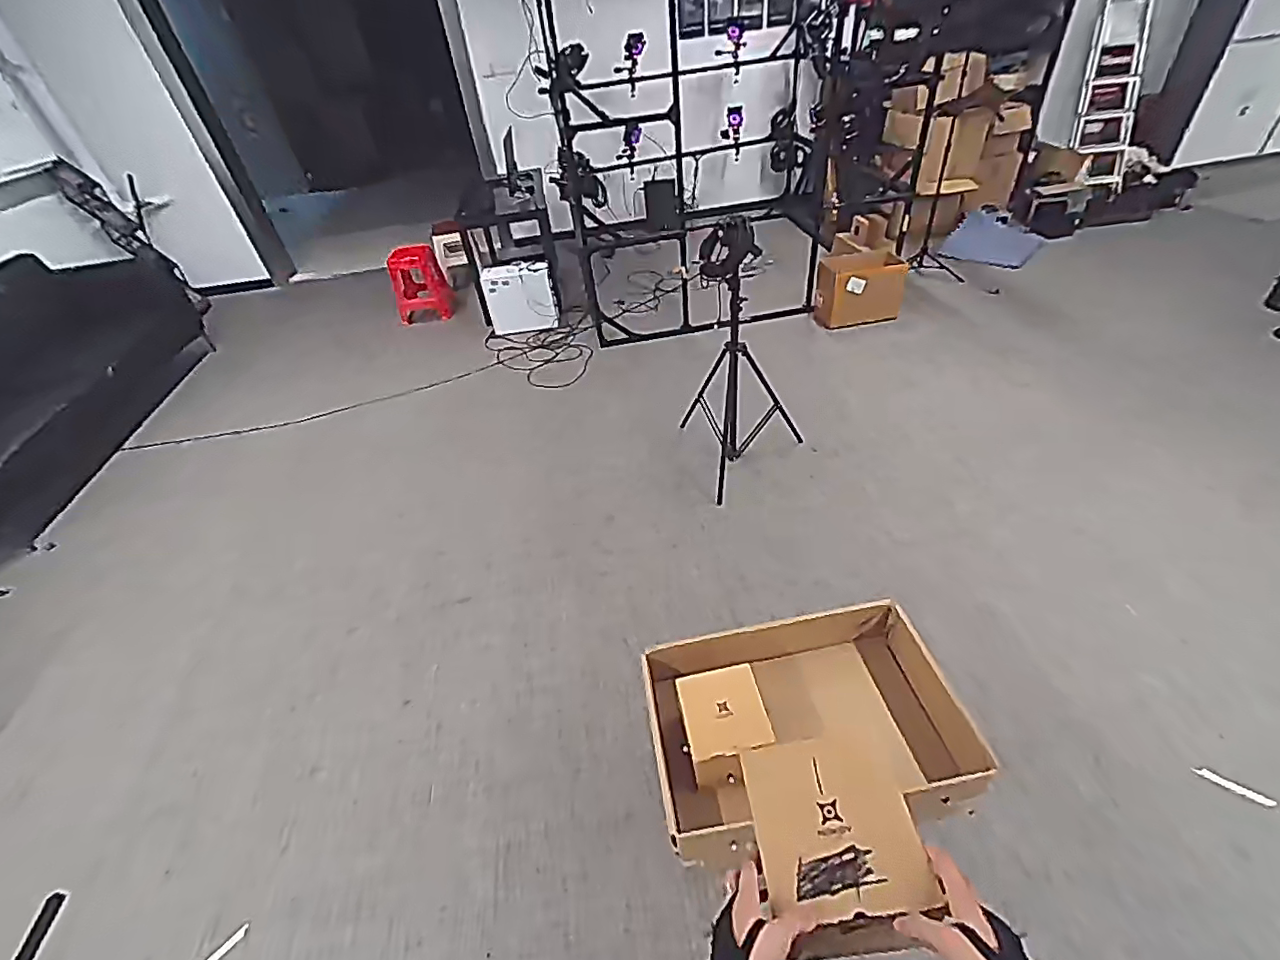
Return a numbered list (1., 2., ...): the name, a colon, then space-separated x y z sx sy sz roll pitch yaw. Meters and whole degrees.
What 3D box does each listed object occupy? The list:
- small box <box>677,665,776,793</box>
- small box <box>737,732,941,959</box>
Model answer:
1. small box: 0.178 0.527 1.146 0.168 0.176 0.179 -12 41 -3
2. small box: 0.218 0.426 0.626 0.168 0.176 0.179 -12 39 5
